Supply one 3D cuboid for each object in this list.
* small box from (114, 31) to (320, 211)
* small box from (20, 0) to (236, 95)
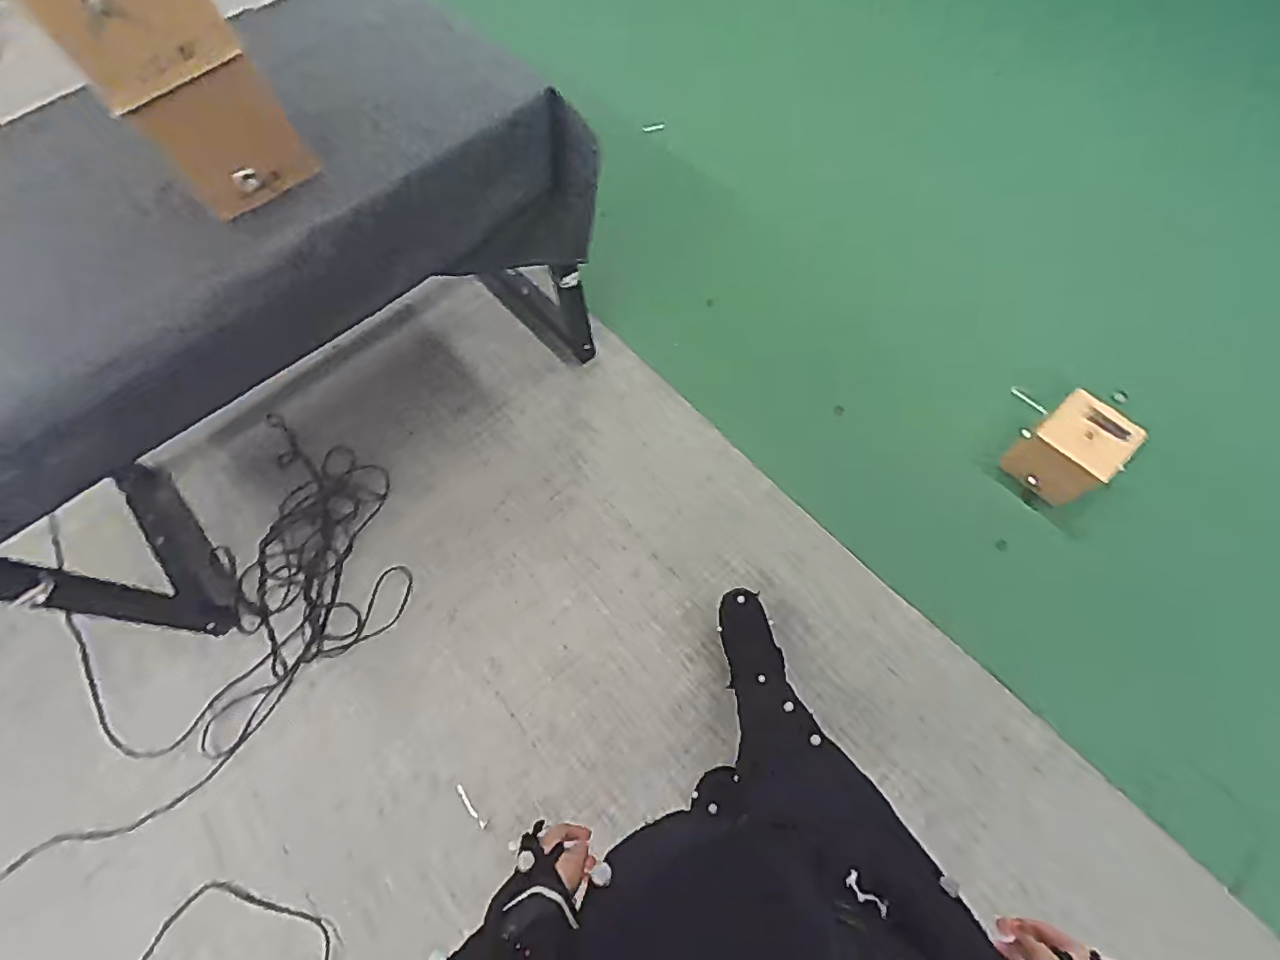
[{"bbox_3d":[-0.598,-0.521,0.754,0.168,0.176,0.179,-39,71,-11],"label":"small box"},{"bbox_3d":[-0.606,-0.574,0.601,0.168,0.176,0.179,-41,70,-11],"label":"small box"}]
